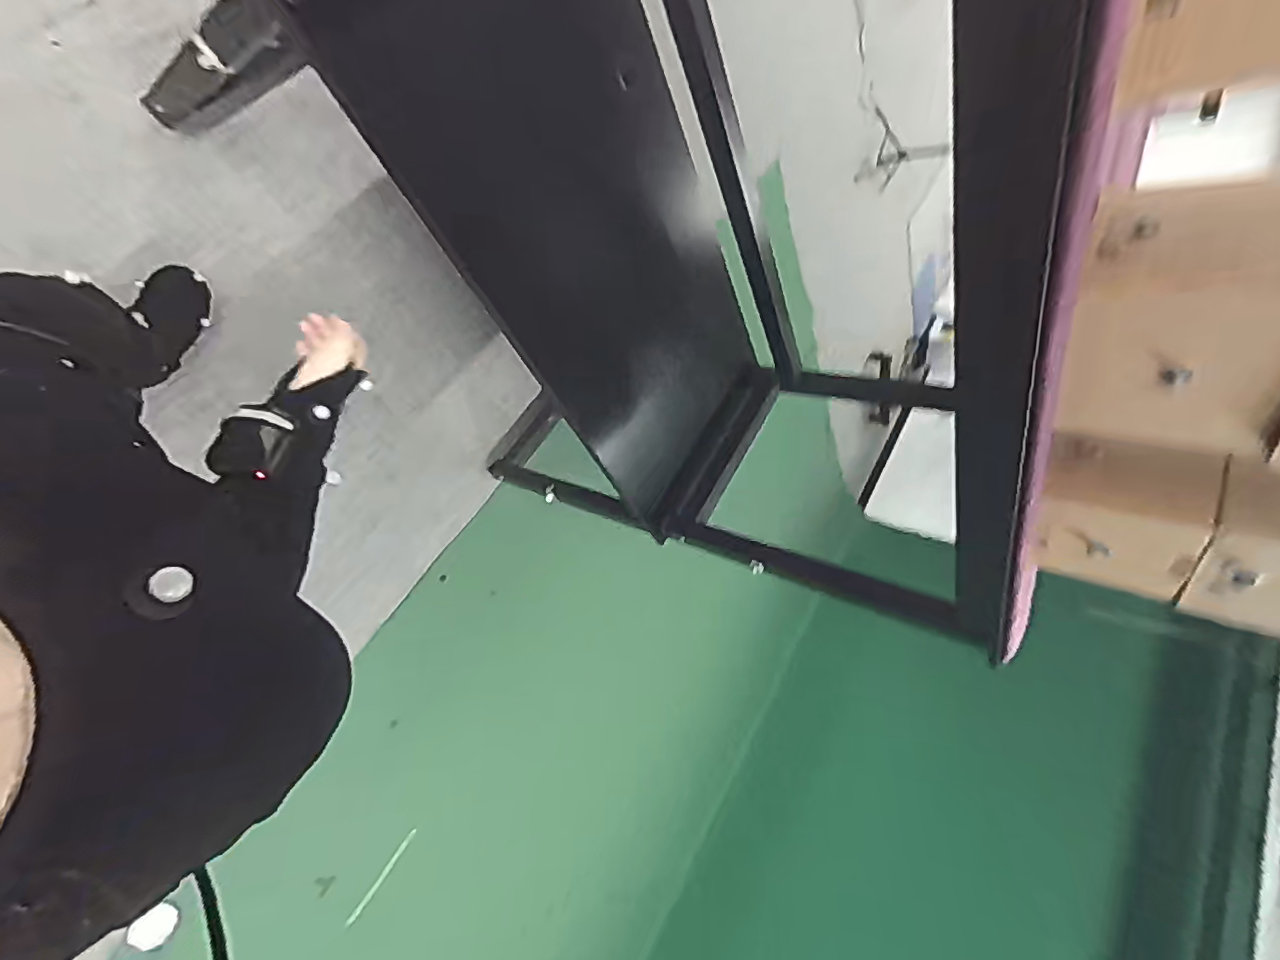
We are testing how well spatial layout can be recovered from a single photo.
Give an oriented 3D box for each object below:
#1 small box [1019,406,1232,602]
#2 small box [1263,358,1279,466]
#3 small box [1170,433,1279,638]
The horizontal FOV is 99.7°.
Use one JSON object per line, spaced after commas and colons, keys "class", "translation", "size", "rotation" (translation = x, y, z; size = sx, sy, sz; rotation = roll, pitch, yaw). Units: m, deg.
{"class": "small box", "translation": [0.623, 0.024, 0.713], "size": [0.179, 0.176, 0.168], "rotation": [-54, 137, -22]}
{"class": "small box", "translation": [0.631, -0.106, 0.411], "size": [0.179, 0.176, 0.168], "rotation": [-52, 136, -24]}
{"class": "small box", "translation": [0.748, 0.067, 0.617], "size": [0.179, 0.176, 0.168], "rotation": [-52, 135, -24]}
